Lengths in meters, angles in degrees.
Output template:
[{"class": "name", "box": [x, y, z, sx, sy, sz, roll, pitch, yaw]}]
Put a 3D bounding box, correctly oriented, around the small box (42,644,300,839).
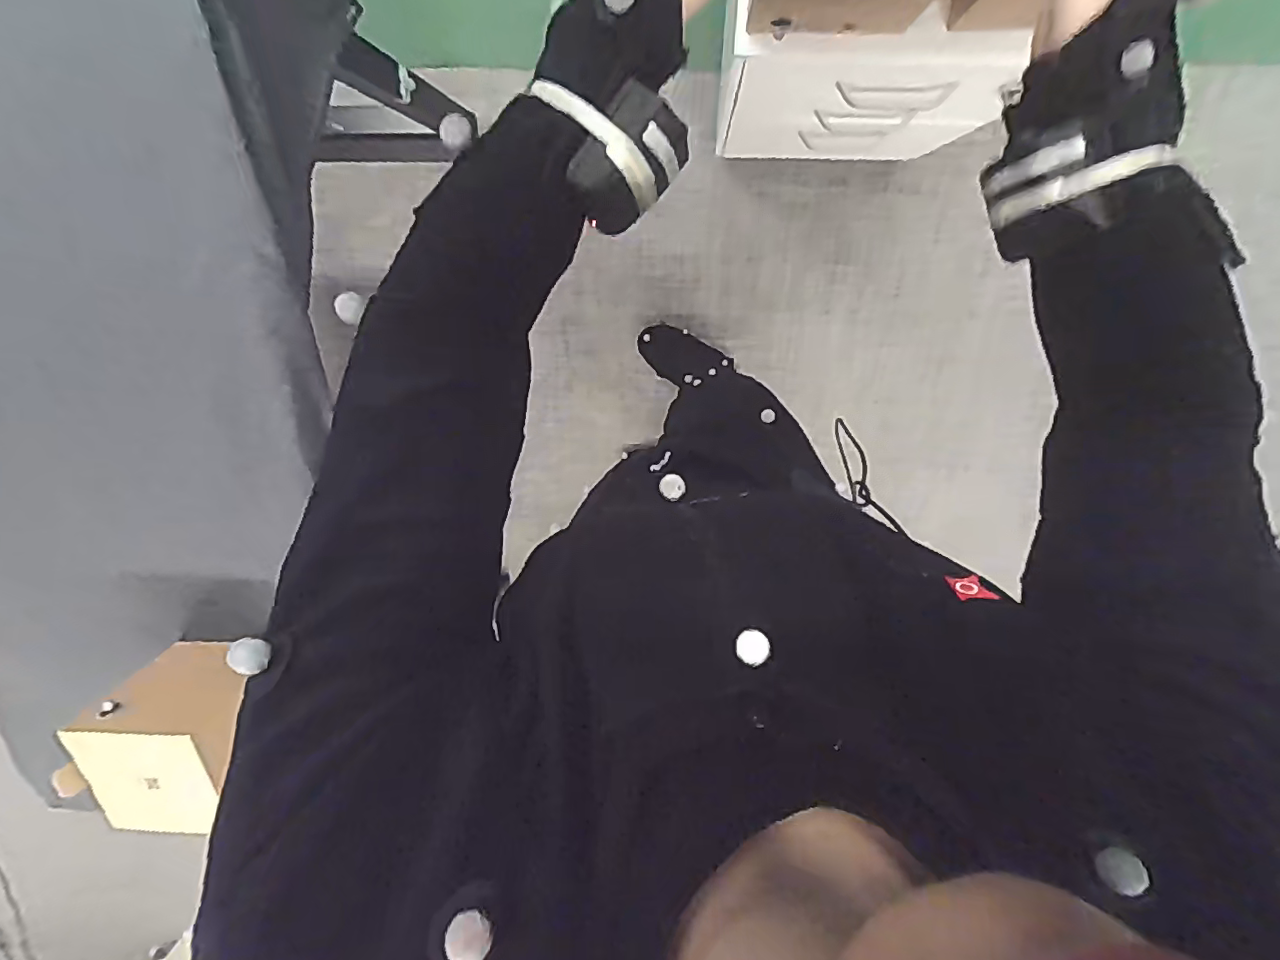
[{"class": "small box", "box": [-0.588, 0.333, 0.712, 0.179, 0.176, 0.168, -1, 111, 6]}]
